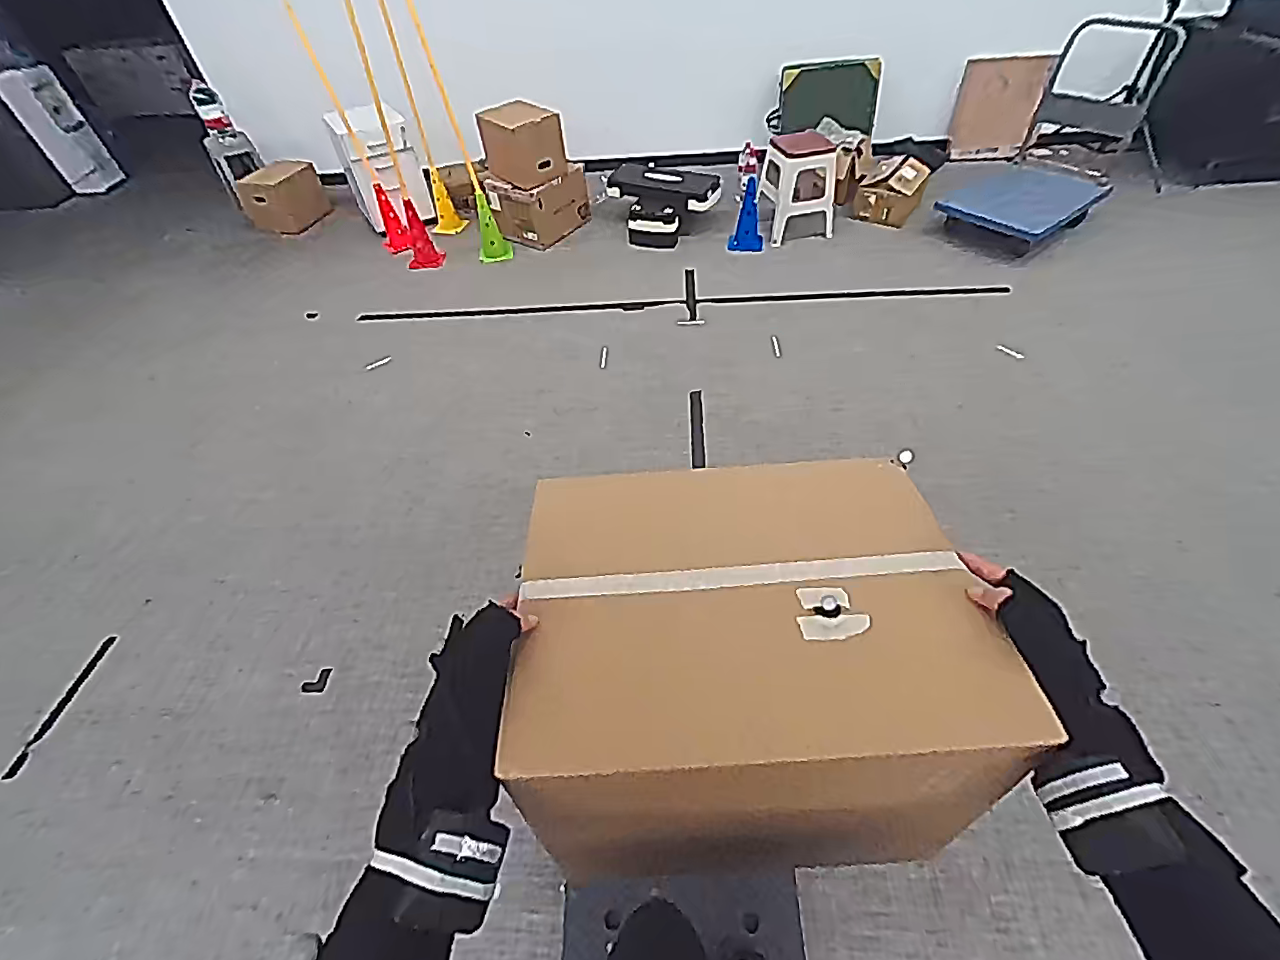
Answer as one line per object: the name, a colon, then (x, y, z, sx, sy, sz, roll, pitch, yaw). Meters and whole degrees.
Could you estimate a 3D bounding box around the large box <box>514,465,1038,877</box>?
large box: (0.101, 0.210, 0.609, 0.408, 0.320, 0.320, -4, 42, 0)
